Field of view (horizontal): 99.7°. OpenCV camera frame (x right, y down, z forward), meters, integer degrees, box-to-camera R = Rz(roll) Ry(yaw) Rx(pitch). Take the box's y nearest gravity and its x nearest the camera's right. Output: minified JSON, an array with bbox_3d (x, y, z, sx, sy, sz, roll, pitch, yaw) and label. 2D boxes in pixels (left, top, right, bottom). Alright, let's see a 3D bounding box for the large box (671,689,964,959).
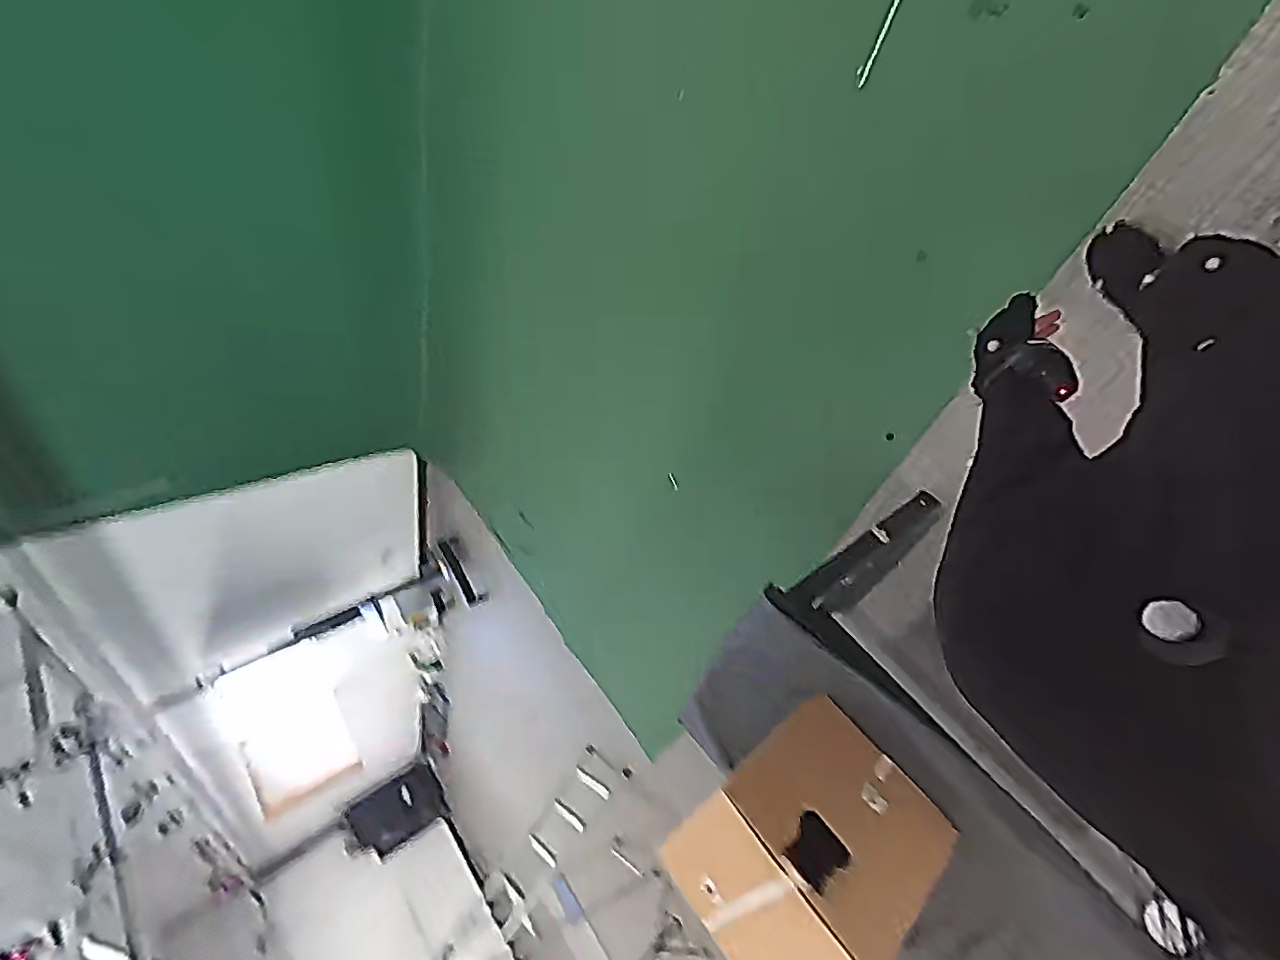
[{"bbox_3d":[0.313,0.684,1.029,0.320,0.320,0.408,45,138,28],"label":"large box"}]
